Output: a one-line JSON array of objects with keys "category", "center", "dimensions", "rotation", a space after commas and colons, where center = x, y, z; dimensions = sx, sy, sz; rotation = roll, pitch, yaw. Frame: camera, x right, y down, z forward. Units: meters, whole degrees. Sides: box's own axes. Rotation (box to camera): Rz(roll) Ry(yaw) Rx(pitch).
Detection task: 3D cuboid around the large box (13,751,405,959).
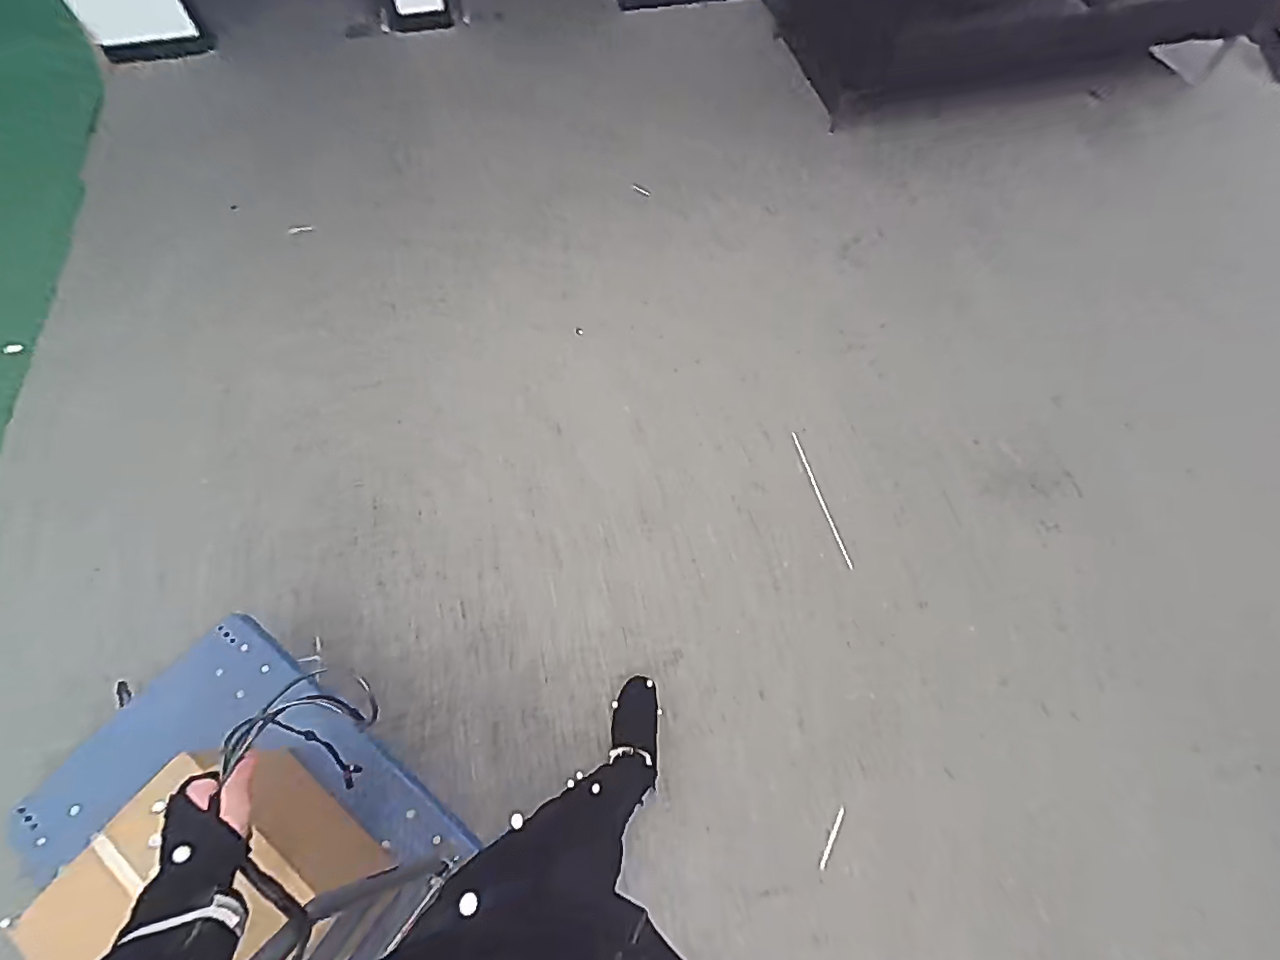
[{"category": "large box", "center": [-0.722, 0.751, 0.972], "dimensions": [0.408, 0.320, 0.320], "rotation": [33, 68, 15]}]
